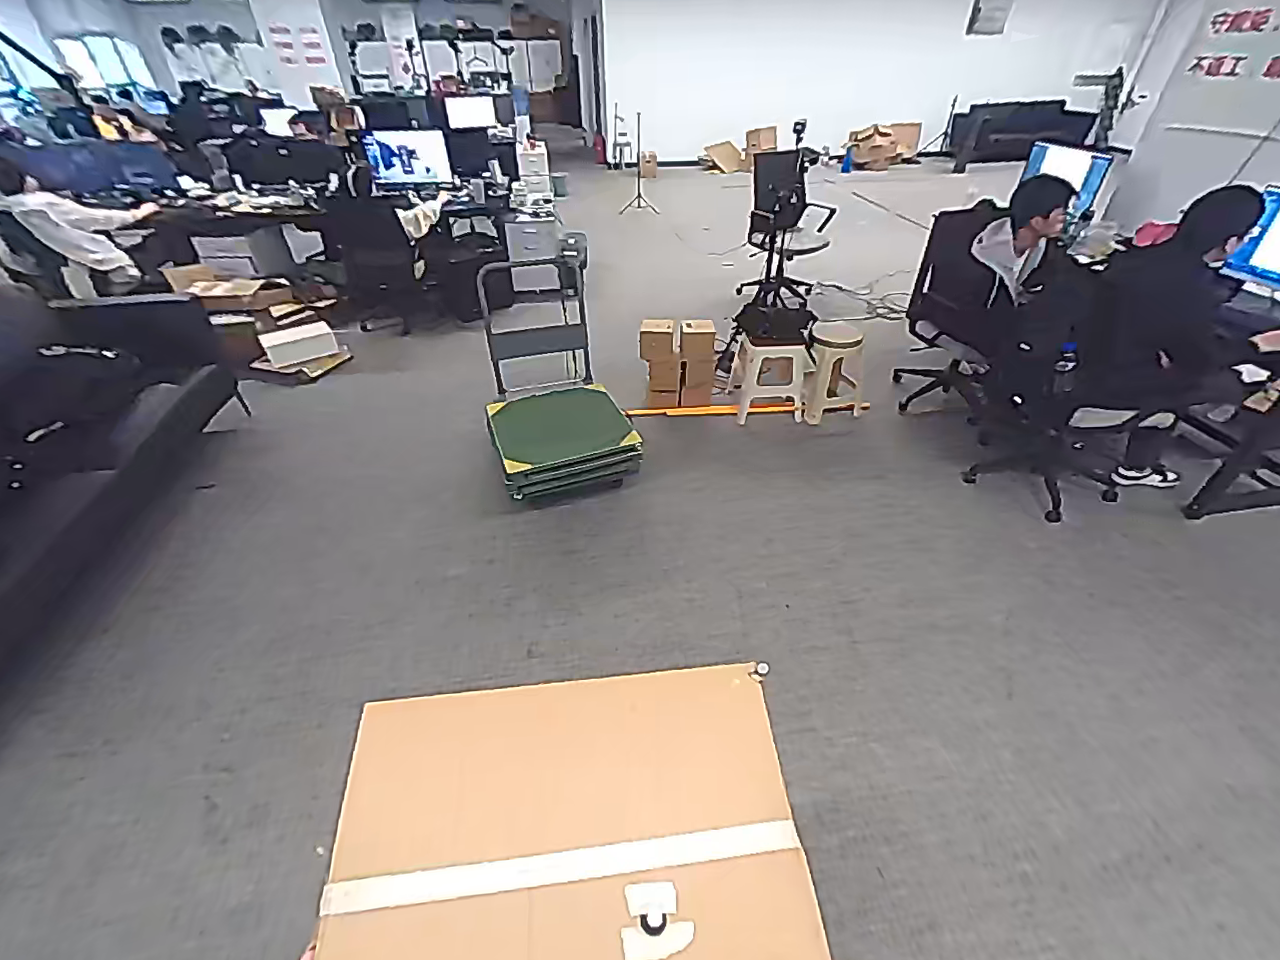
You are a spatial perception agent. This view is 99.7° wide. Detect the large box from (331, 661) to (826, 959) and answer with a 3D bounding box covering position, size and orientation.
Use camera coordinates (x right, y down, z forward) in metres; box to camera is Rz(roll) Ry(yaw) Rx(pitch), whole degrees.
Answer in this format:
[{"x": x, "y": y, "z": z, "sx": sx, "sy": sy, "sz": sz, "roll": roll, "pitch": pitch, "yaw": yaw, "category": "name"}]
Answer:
[{"x": -0.063, "y": 0.426, "z": 0.595, "sx": 0.408, "sy": 0.320, "sz": 0.320, "roll": -4, "pitch": 52, "yaw": -6, "category": "large box"}]
